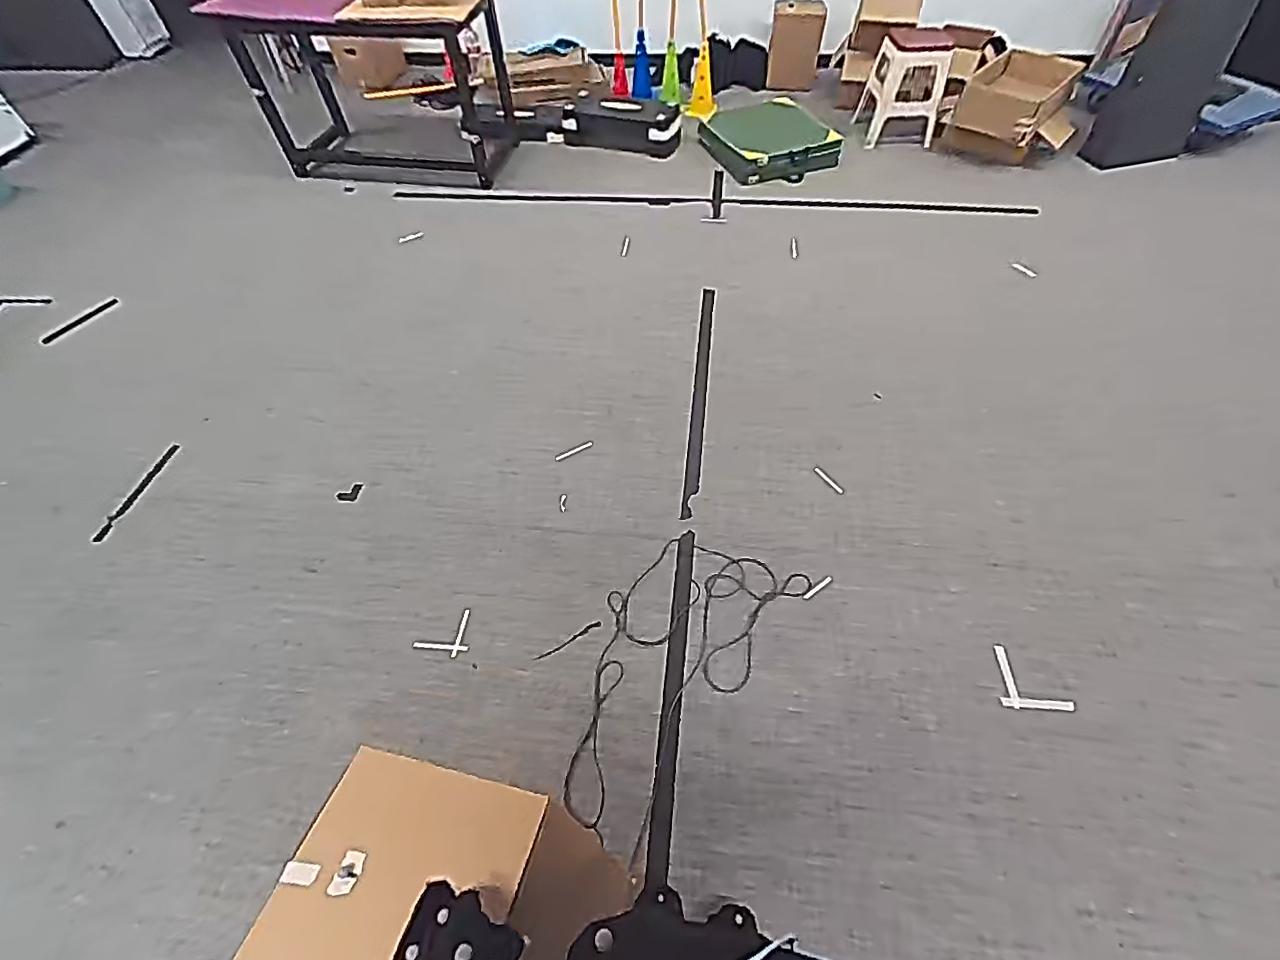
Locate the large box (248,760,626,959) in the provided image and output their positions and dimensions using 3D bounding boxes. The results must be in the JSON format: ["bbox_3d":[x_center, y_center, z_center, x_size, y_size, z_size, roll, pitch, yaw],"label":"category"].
[{"bbox_3d":[-0.251,0.643,0.753,0.320,0.408,0.320,3,45,22],"label":"large box"}]
